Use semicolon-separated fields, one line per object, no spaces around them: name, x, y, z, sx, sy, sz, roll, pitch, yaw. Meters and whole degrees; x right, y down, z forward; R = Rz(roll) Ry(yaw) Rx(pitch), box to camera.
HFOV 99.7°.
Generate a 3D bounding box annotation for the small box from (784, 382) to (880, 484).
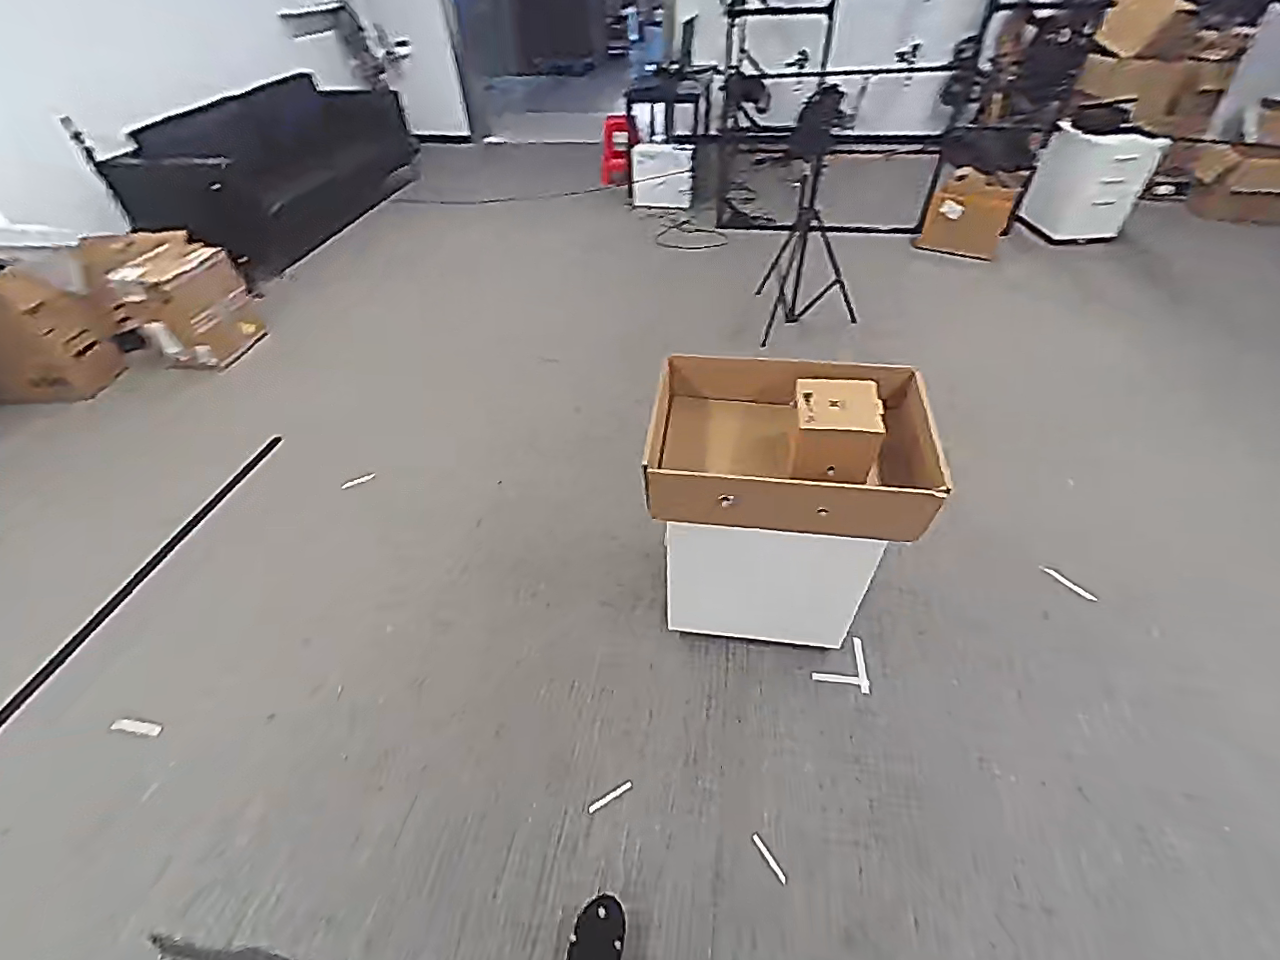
small box;0.435;-0.107;1.252;0.179;0.176;0.168;4;50;8
